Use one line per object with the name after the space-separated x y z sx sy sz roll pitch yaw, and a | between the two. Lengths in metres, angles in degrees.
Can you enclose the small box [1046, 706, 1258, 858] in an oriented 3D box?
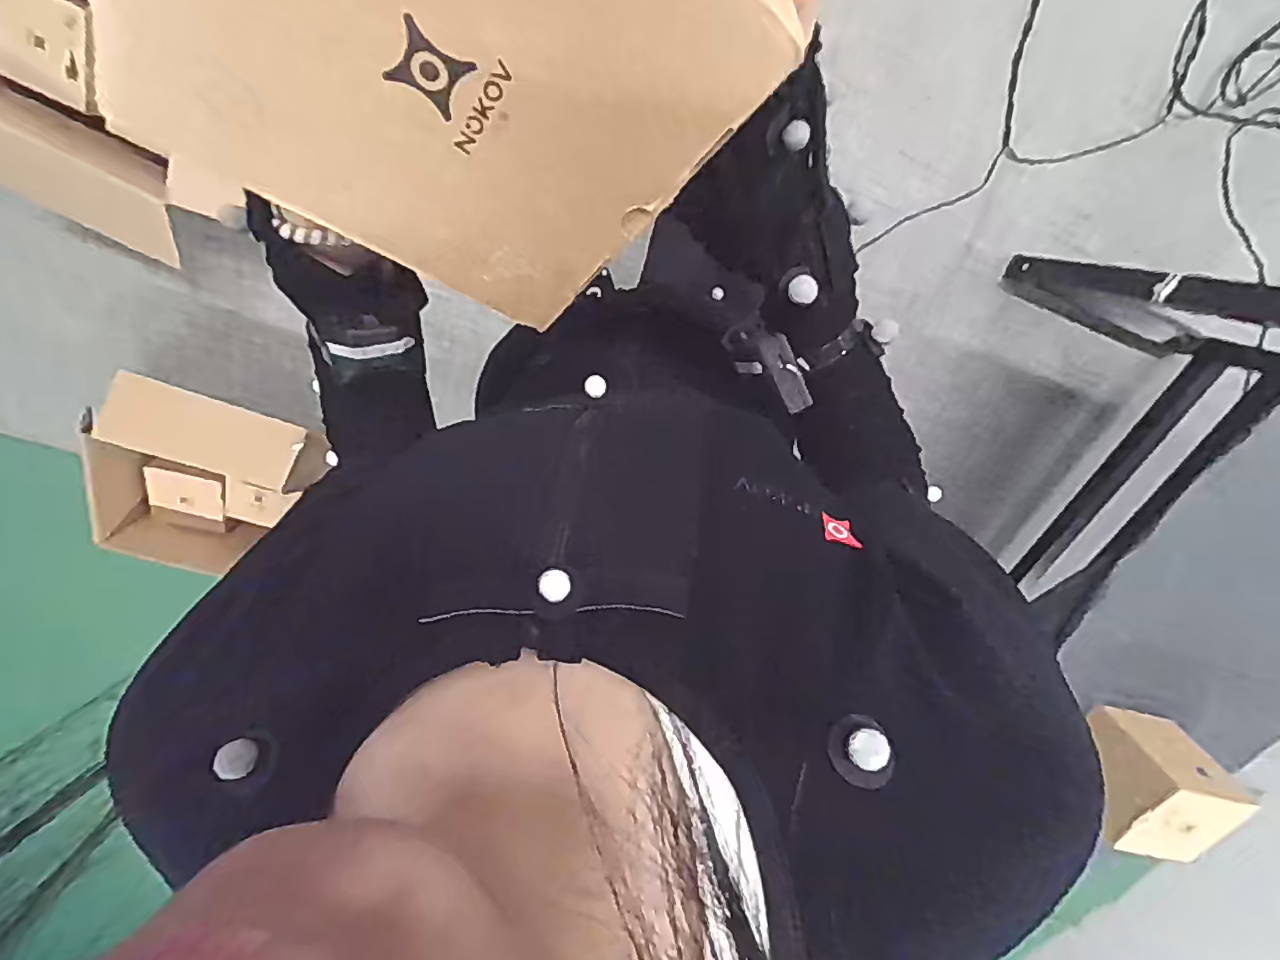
0.898 0.535 0.968 0.179 0.176 0.168 16 115 -10 | small box
